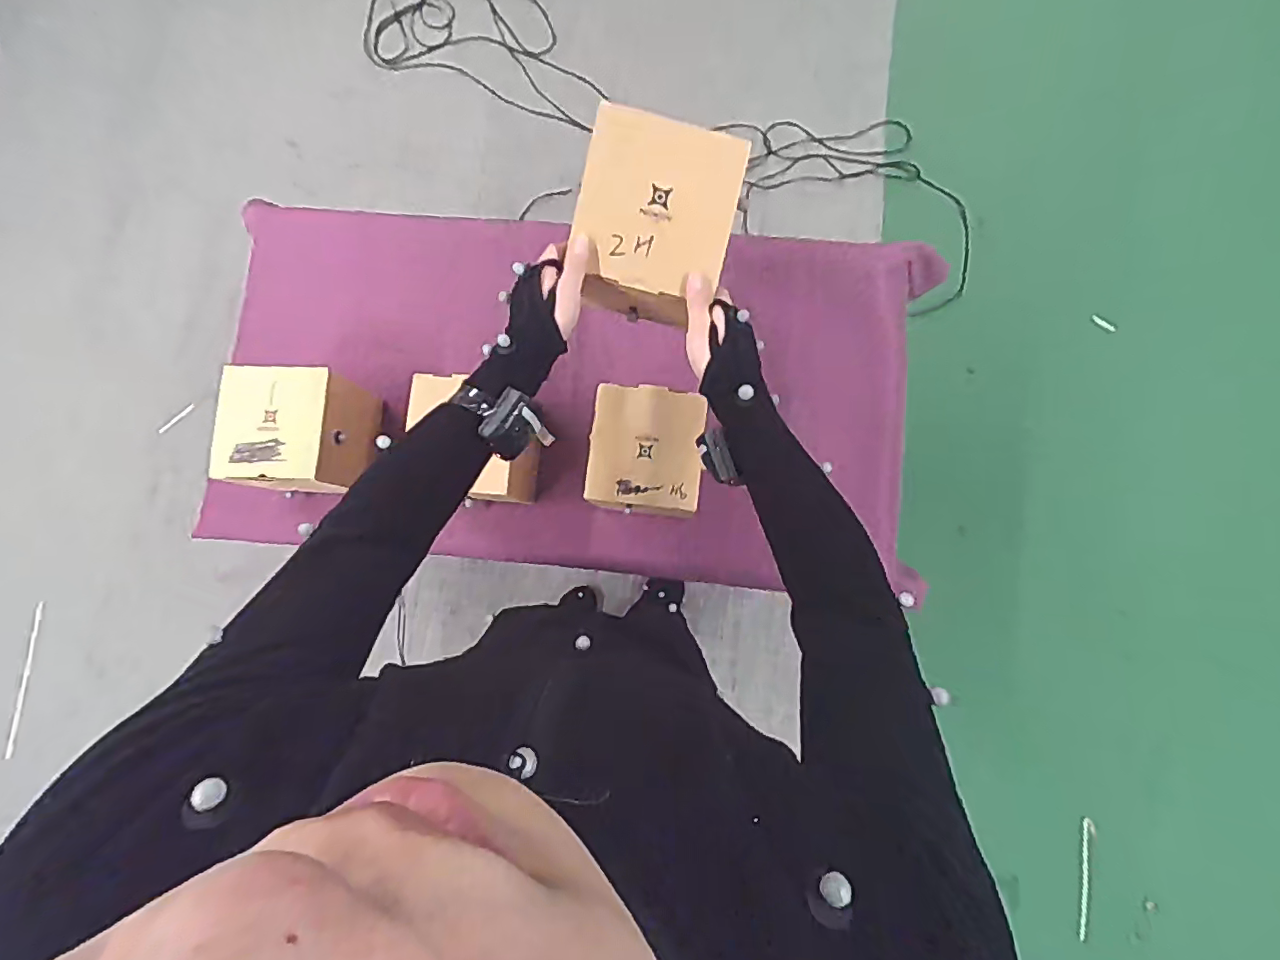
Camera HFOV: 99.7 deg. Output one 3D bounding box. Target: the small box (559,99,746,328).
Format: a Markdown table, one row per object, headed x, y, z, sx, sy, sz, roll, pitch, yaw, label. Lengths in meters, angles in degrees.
| x | y | z | sx | sy | sz | roll | pitch | yaw | label |
| --- | --- | --- | --- | --- | --- | --- | --- | --- | --- |
| 0.010 | -0.298 | 0.646 | 0.168 | 0.176 | 0.179 | 14 | 96 | -3 | small box |

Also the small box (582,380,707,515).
| x | y | z | sx | sy | sz | roll | pitch | yaw | label |
| --- | --- | --- | --- | --- | --- | --- | --- | --- | --- |
| 0.011 | -0.044 | 0.867 | 0.168 | 0.176 | 0.179 | 7 | 83 | 5 | small box |

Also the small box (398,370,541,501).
| x | y | z | sx | sy | sz | roll | pitch | yaw | label |
| --- | --- | --- | --- | --- | --- | --- | --- | --- | --- |
| -0.265 | -0.065 | 0.885 | 0.168 | 0.176 | 0.179 | 5 | 84 | 4 | small box |

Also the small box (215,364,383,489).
| x | y | z | sx | sy | sz | roll | pitch | yaw | label |
| --- | --- | --- | --- | --- | --- | --- | --- | --- | --- |
| -0.551 | -0.081 | 0.898 | 0.168 | 0.176 | 0.179 | 2 | 81 | 3 | small box |
